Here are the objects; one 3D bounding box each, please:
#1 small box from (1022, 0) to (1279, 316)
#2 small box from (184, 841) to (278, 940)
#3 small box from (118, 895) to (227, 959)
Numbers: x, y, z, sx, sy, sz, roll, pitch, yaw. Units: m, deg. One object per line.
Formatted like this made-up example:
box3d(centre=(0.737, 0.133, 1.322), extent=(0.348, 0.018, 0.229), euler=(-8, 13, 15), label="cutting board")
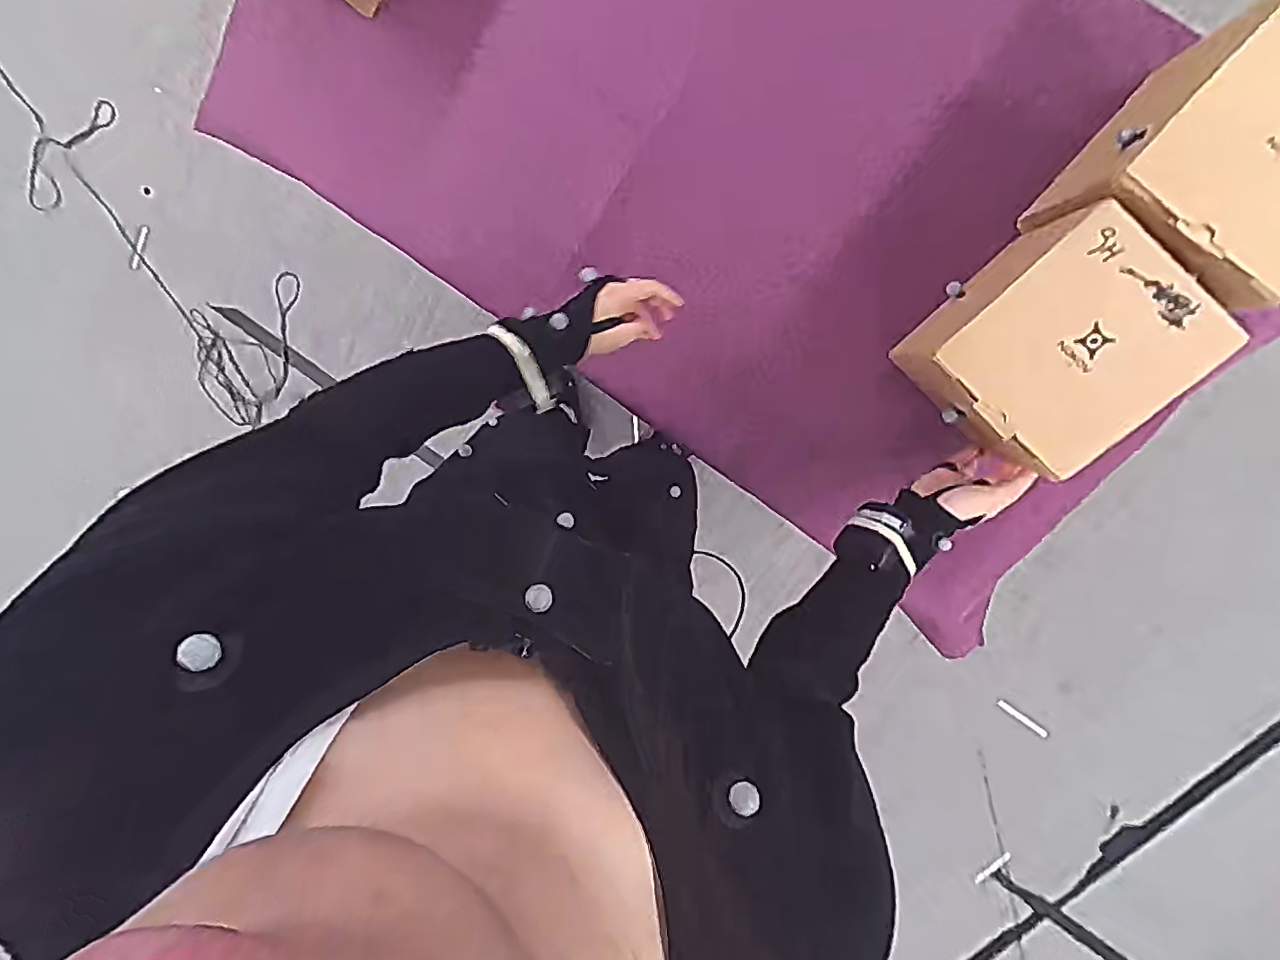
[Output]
box3d(centre=(0.505, -0.271, 0.488), extent=(0.168, 0.176, 0.179), euler=(39, 106, 0), label="small box")
box3d(centre=(-1.254, 1.254, 1.641), extent=(0.179, 0.176, 0.168), euler=(43, 106, 0), label="small box")
box3d(centre=(-1.289, 1.305, 1.490), extent=(0.168, 0.176, 0.179), euler=(28, 107, 4), label="small box")
